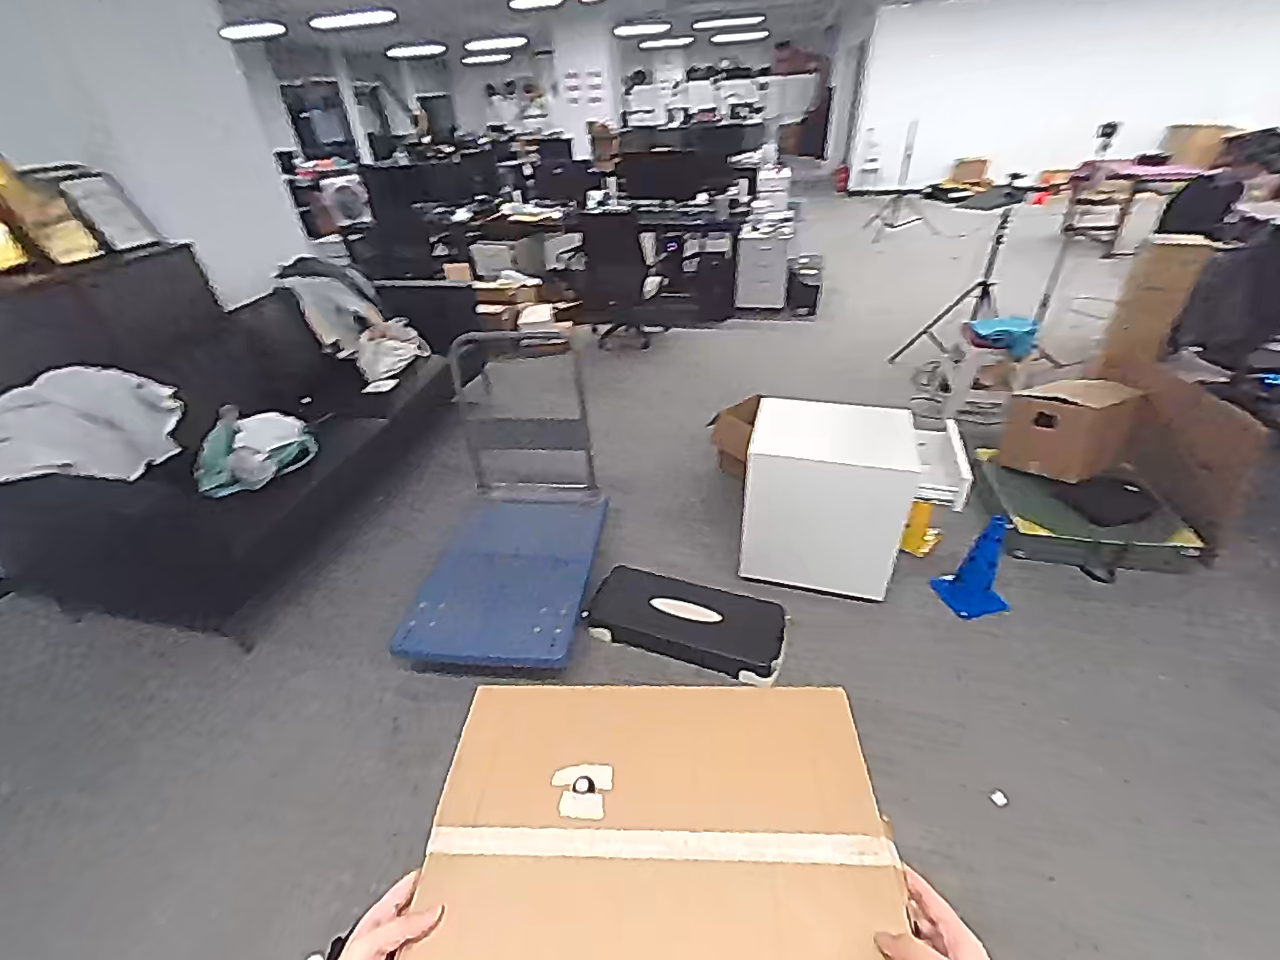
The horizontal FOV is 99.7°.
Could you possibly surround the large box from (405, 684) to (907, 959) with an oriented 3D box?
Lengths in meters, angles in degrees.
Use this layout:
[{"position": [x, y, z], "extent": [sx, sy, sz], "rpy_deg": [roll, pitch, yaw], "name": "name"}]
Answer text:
[{"position": [0.025, 0.446, 0.576], "extent": [0.408, 0.320, 0.320], "rpy_deg": [-4, 37, 5], "name": "large box"}]
